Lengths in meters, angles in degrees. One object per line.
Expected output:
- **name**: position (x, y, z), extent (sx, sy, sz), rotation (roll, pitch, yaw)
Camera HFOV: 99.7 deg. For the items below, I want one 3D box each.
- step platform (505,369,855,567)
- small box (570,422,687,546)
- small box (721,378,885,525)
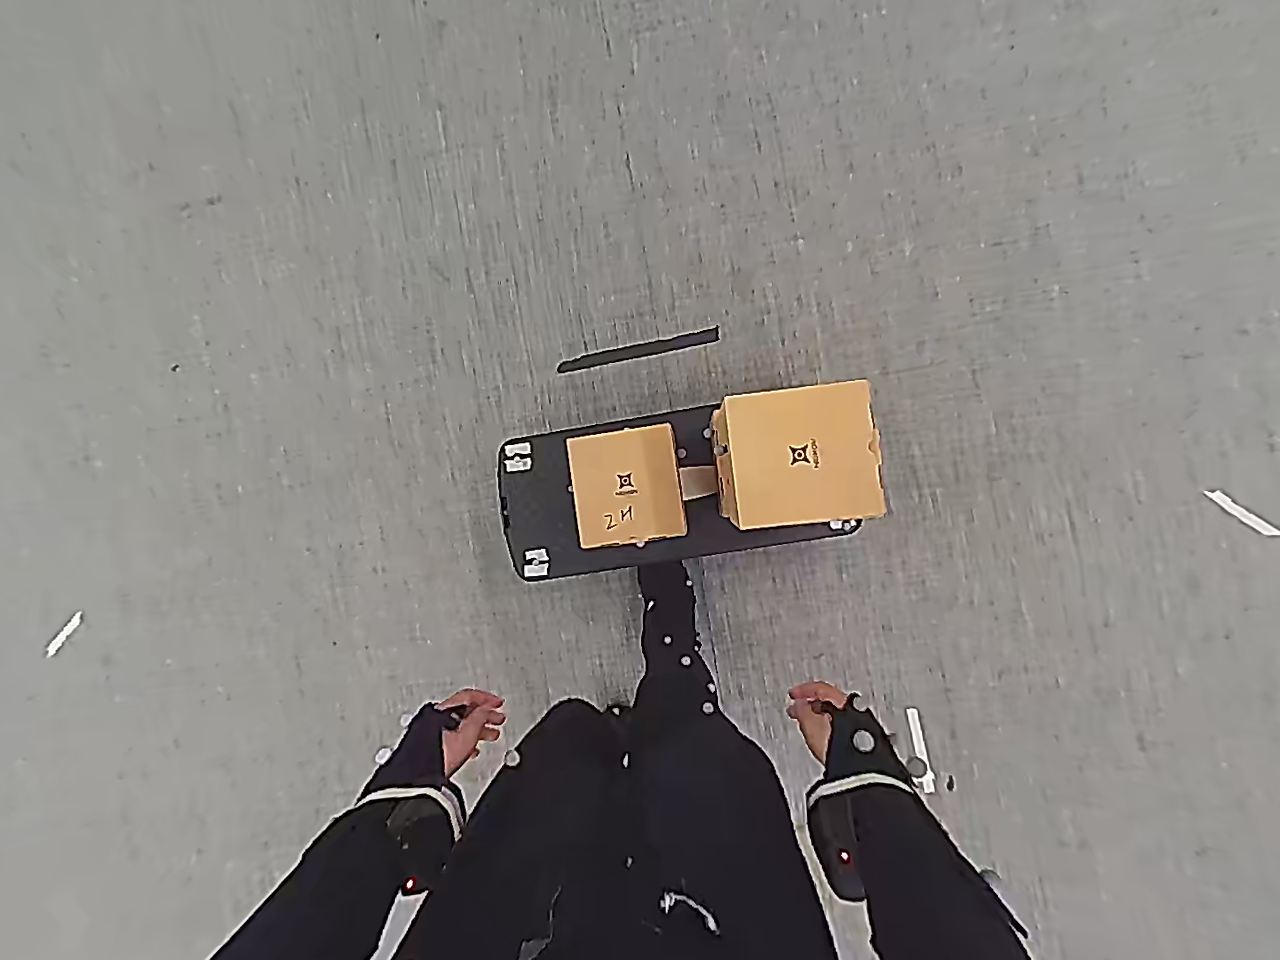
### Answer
- **step platform**: position (0.082, -0.016, 1.078), extent (0.684, 0.204, 0.286), rotation (-10, 87, 5)
- **small box**: position (-0.013, 0.010, 0.911), extent (0.168, 0.176, 0.179), rotation (-8, 88, 5)
- **small box**: position (0.204, -0.030, 0.729), extent (0.179, 0.176, 0.168), rotation (-7, 88, 4)
